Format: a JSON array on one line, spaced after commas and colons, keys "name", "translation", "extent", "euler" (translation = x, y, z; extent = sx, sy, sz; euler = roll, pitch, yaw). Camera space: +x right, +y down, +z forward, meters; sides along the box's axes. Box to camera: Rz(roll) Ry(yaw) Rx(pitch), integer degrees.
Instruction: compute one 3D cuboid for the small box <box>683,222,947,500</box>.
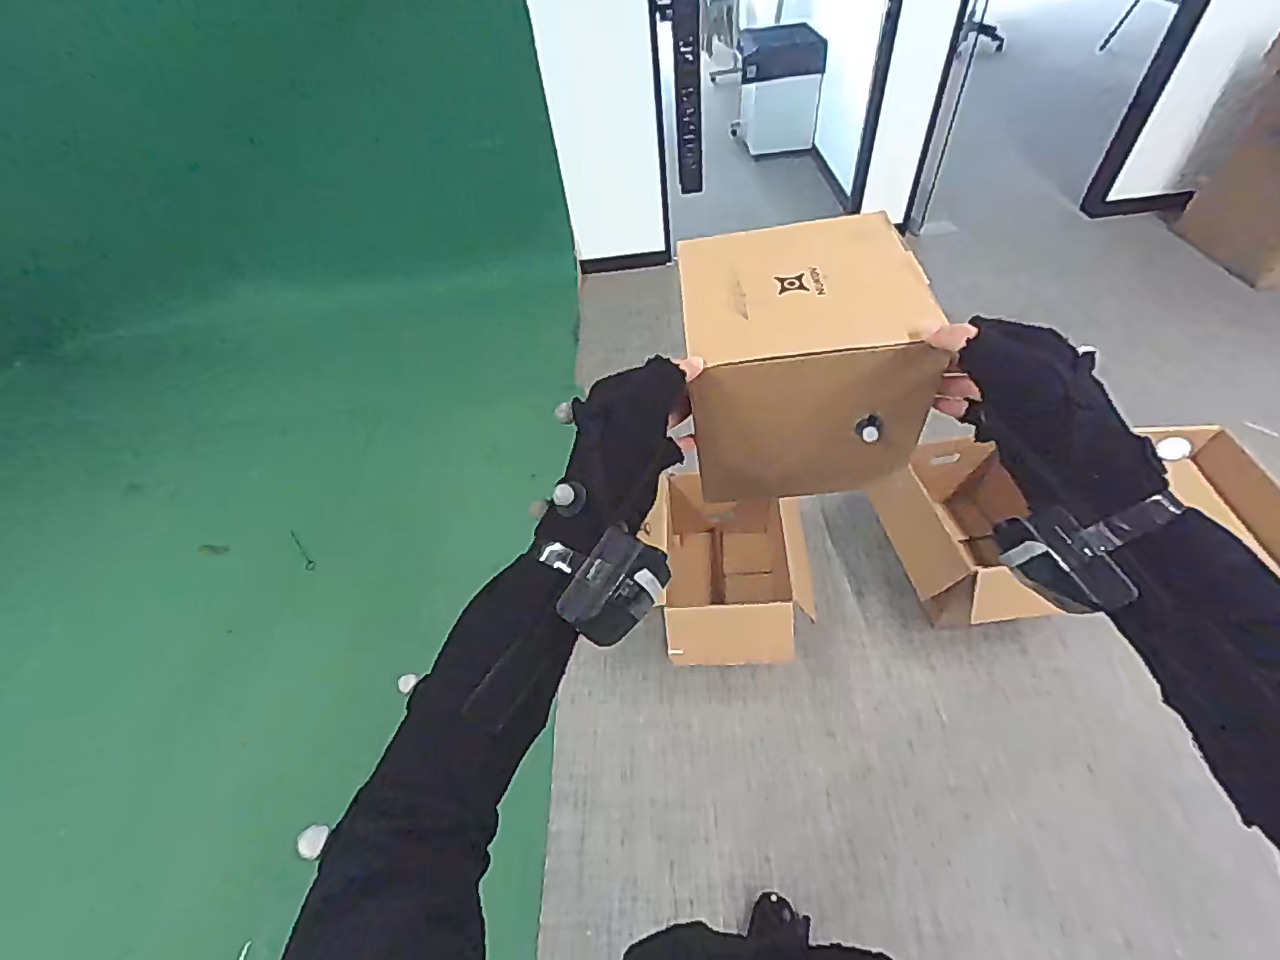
[{"name": "small box", "translation": [0.133, -0.098, 0.481], "extent": [0.179, 0.176, 0.168], "euler": [-5, 51, 7]}]
